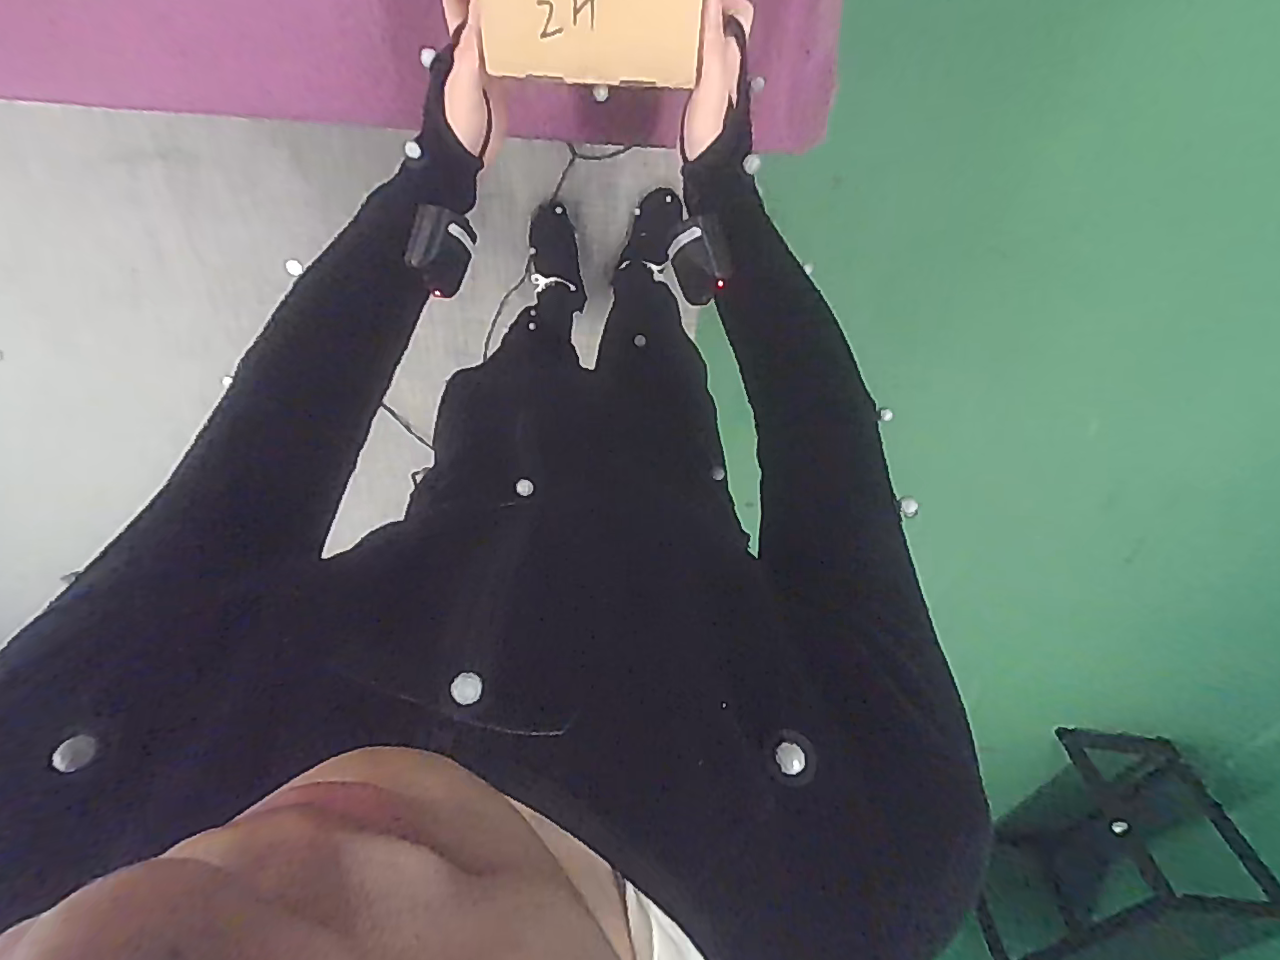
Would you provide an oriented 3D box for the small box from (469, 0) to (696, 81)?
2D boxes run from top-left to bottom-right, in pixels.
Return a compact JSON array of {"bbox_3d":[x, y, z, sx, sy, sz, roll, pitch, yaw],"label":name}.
[{"bbox_3d":[-0.038,-0.429,0.425,0.168,0.176,0.179,3,128,-1],"label":"small box"}]

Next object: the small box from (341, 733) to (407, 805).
[{"bbox_3d":[-0.987,1.080,2.022,0.168,0.176,0.179,10,125,-5],"label":"small box"}]
